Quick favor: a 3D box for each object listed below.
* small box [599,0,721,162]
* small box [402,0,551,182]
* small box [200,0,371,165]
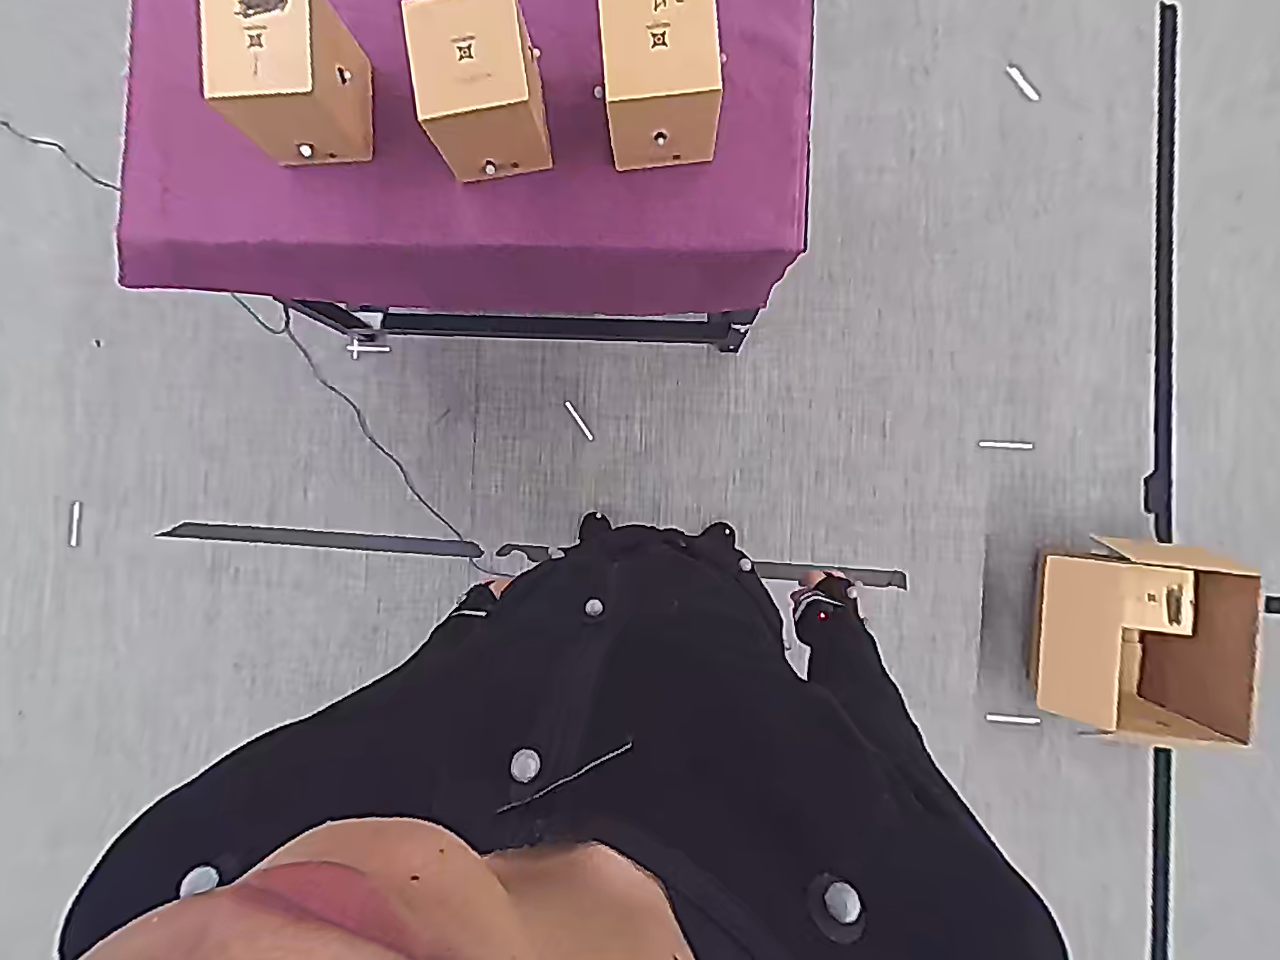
[{"bbox_3d":[0.032,-0.617,0.829,0.168,0.176,0.179,-4,88,3],"label":"small box"},{"bbox_3d":[-0.244,-0.606,0.844,0.168,0.176,0.179,-8,88,3],"label":"small box"},{"bbox_3d":[-0.549,-0.637,0.858,0.168,0.176,0.179,-2,90,3],"label":"small box"}]
